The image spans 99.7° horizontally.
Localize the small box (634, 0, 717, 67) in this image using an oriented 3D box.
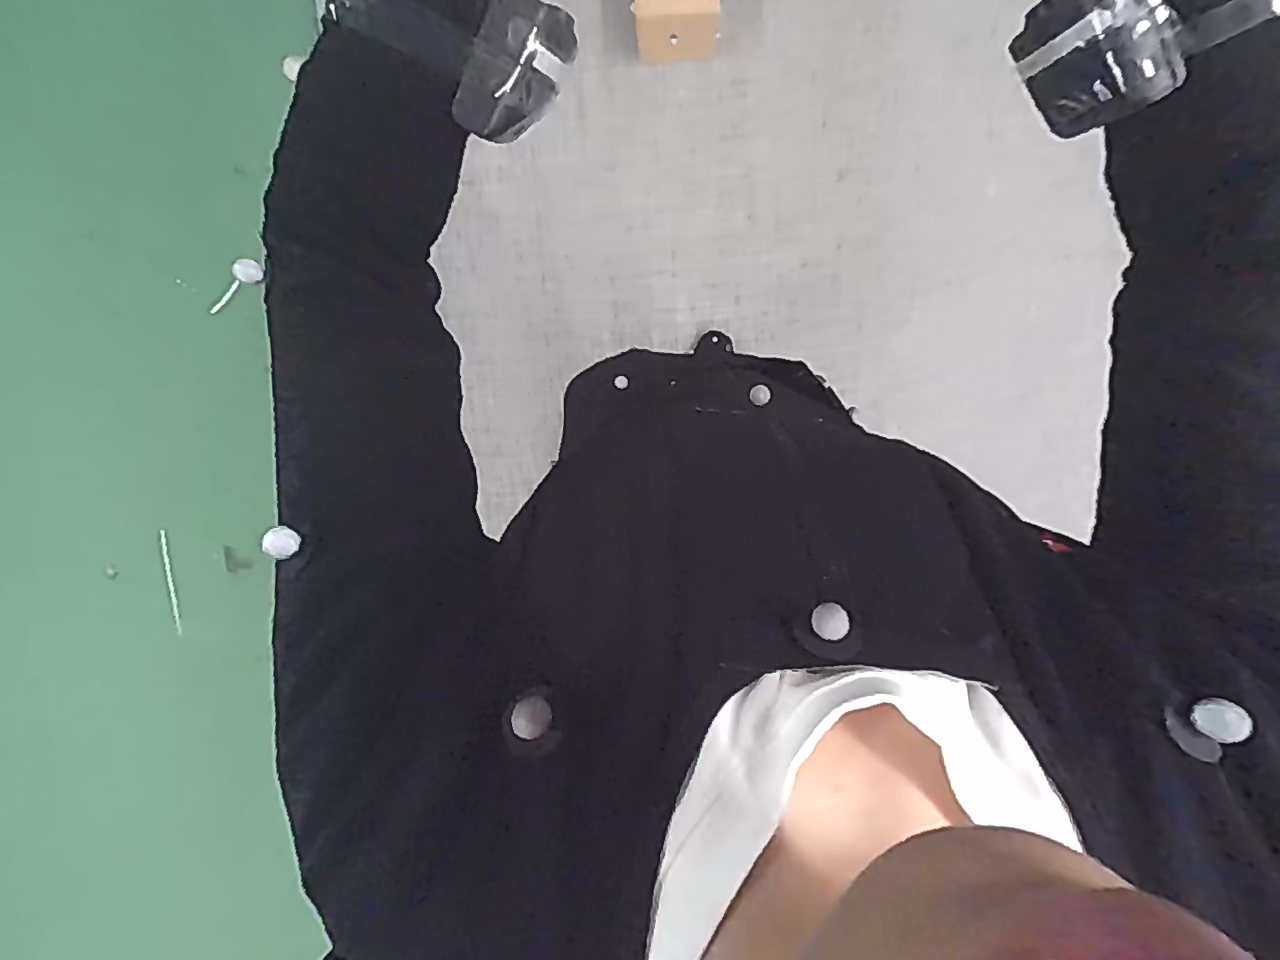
[{"bbox_3d":[0.076,-1.057,1.201,0.179,0.176,0.168,-1,99,4],"label":"small box"}]
